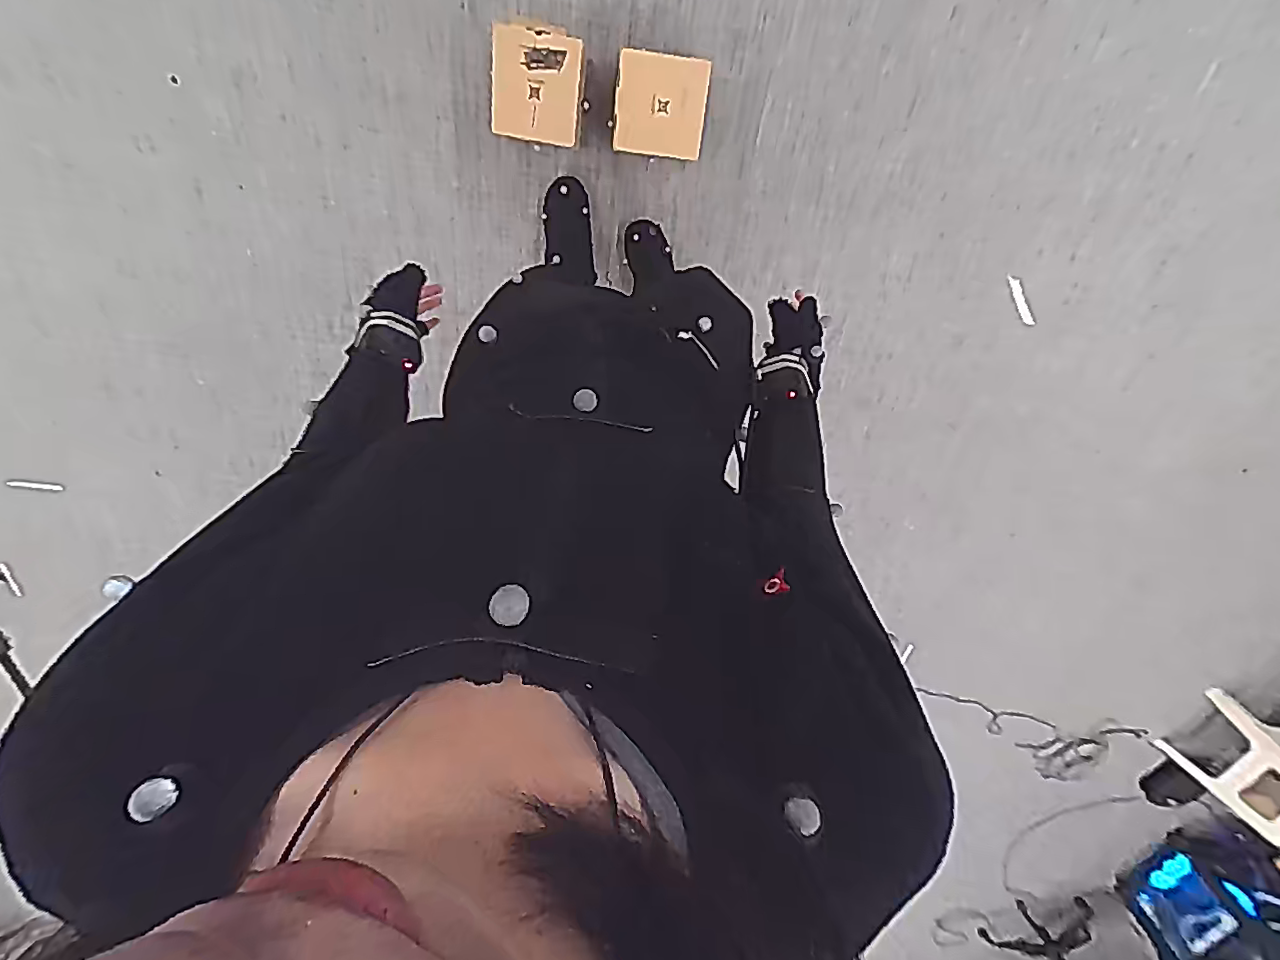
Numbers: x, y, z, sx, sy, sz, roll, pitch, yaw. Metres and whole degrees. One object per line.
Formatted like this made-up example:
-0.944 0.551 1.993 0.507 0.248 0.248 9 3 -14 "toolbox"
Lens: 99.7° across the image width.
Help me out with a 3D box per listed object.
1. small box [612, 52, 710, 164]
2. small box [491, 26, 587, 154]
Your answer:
0.036 -0.761 1.122 0.179 0.176 0.168 4 122 -5 "small box"
-0.201 -0.781 1.102 0.168 0.176 0.179 8 121 -6 "small box"
